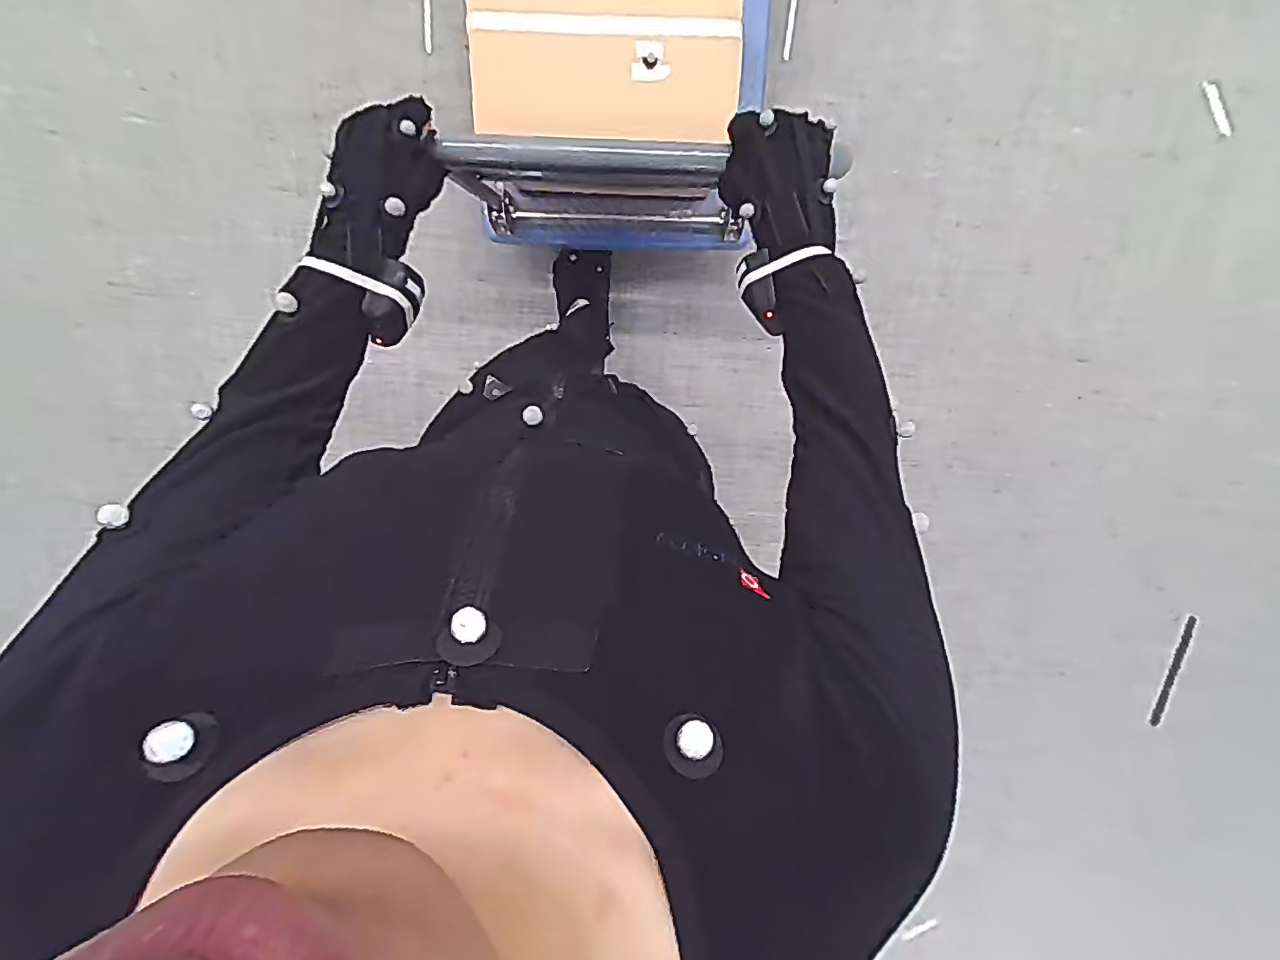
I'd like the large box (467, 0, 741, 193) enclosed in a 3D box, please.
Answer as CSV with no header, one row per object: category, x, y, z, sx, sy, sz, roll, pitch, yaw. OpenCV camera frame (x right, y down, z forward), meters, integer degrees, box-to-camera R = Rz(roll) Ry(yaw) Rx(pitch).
large box,-0.057,-0.700,0.933,0.408,0.320,0.320,1,107,-2
